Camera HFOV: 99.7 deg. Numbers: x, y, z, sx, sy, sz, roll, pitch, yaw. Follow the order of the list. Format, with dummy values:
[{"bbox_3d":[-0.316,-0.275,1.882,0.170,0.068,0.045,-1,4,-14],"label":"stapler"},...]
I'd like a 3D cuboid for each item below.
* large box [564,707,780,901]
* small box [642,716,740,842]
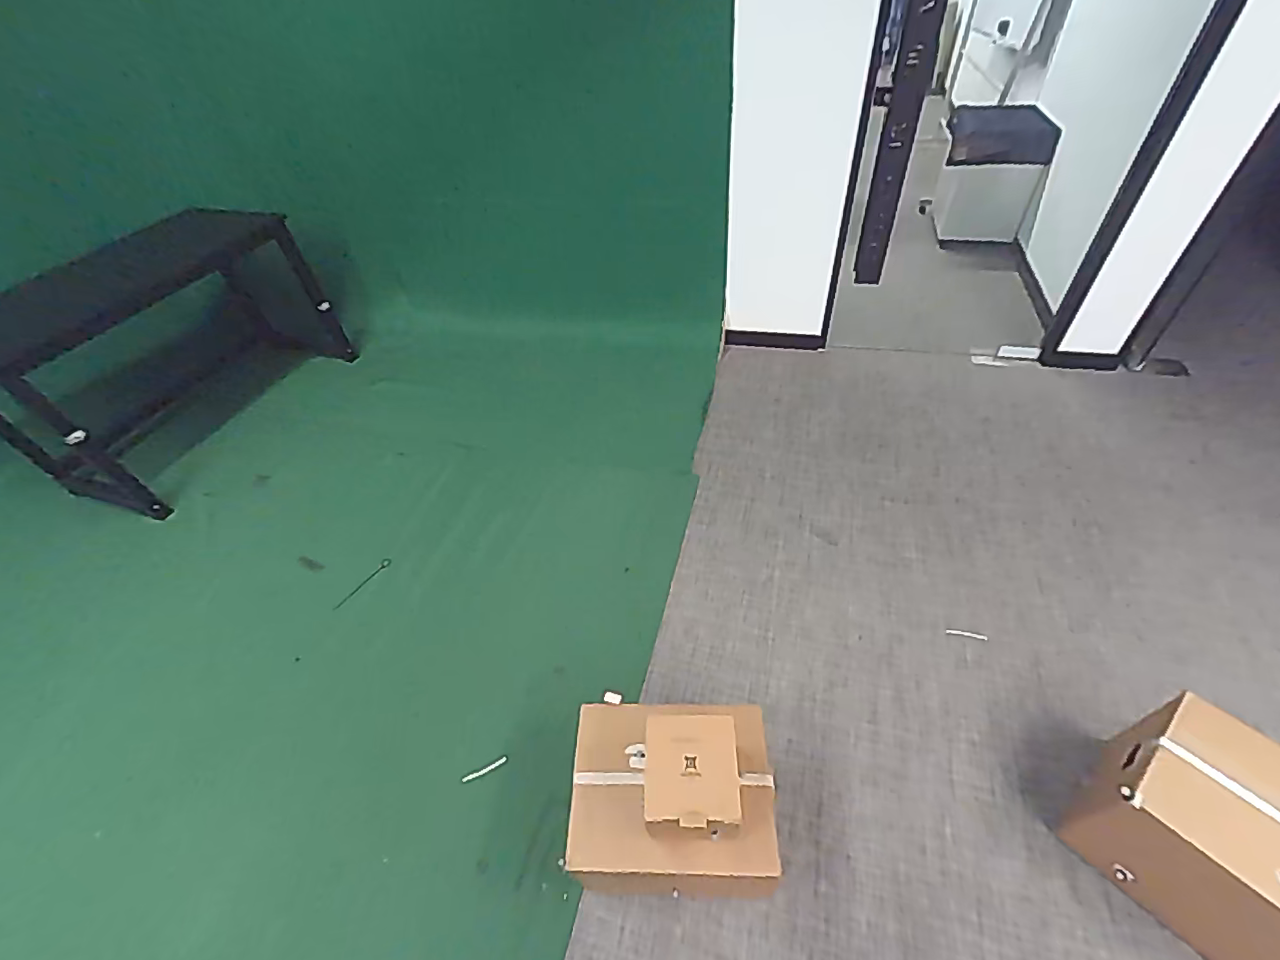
[{"bbox_3d":[0.074,0.720,1.193,0.408,0.320,0.320,-3,45,5],"label":"large box"},{"bbox_3d":[0.095,0.558,1.005,0.168,0.176,0.179,-1,47,5],"label":"small box"}]
